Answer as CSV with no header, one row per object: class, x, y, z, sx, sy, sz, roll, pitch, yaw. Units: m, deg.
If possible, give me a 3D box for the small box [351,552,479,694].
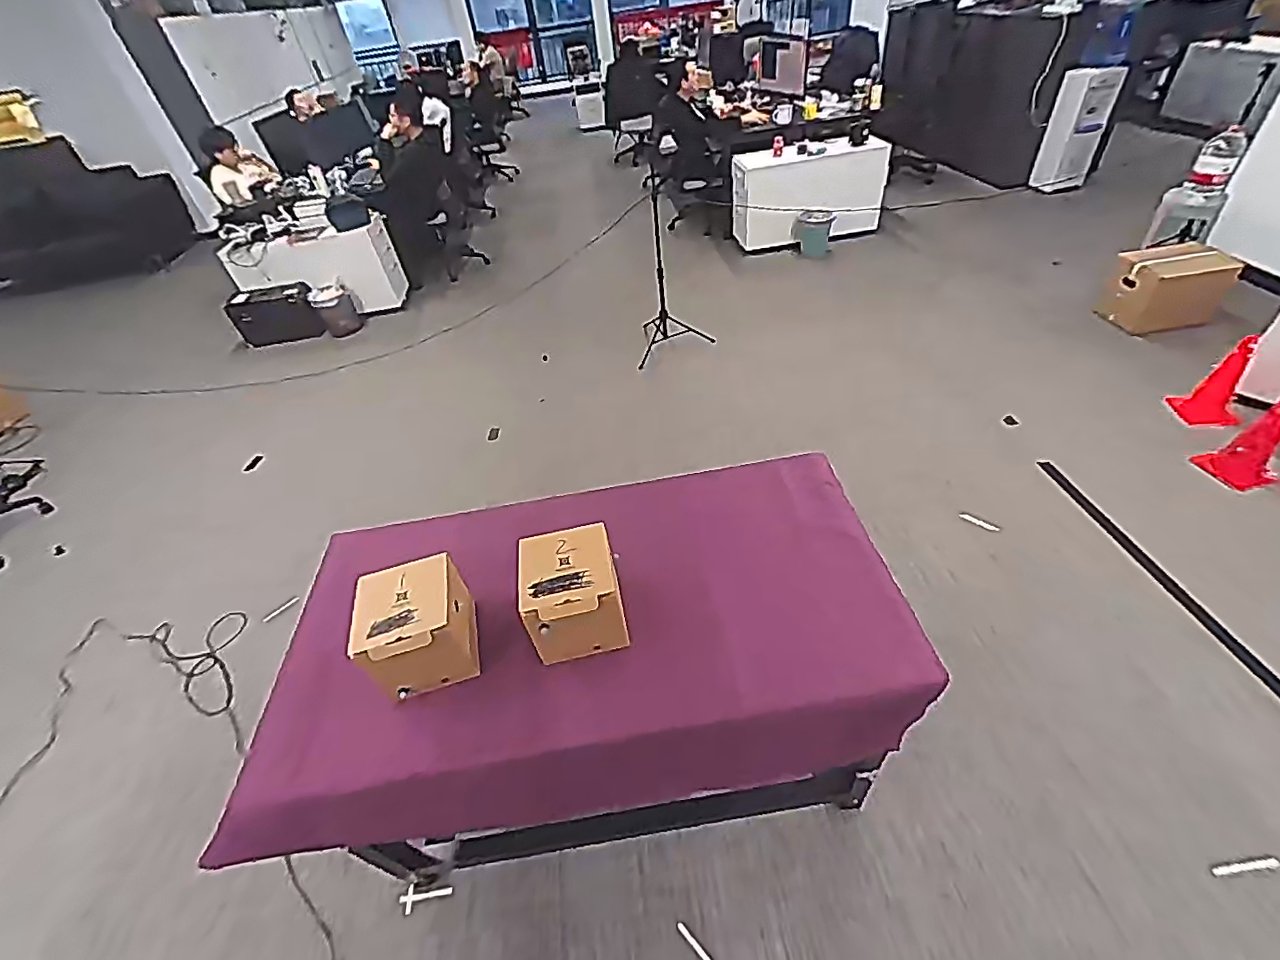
small box,-0.404,0.269,0.997,0.168,0.176,0.179,-16,42,-8
